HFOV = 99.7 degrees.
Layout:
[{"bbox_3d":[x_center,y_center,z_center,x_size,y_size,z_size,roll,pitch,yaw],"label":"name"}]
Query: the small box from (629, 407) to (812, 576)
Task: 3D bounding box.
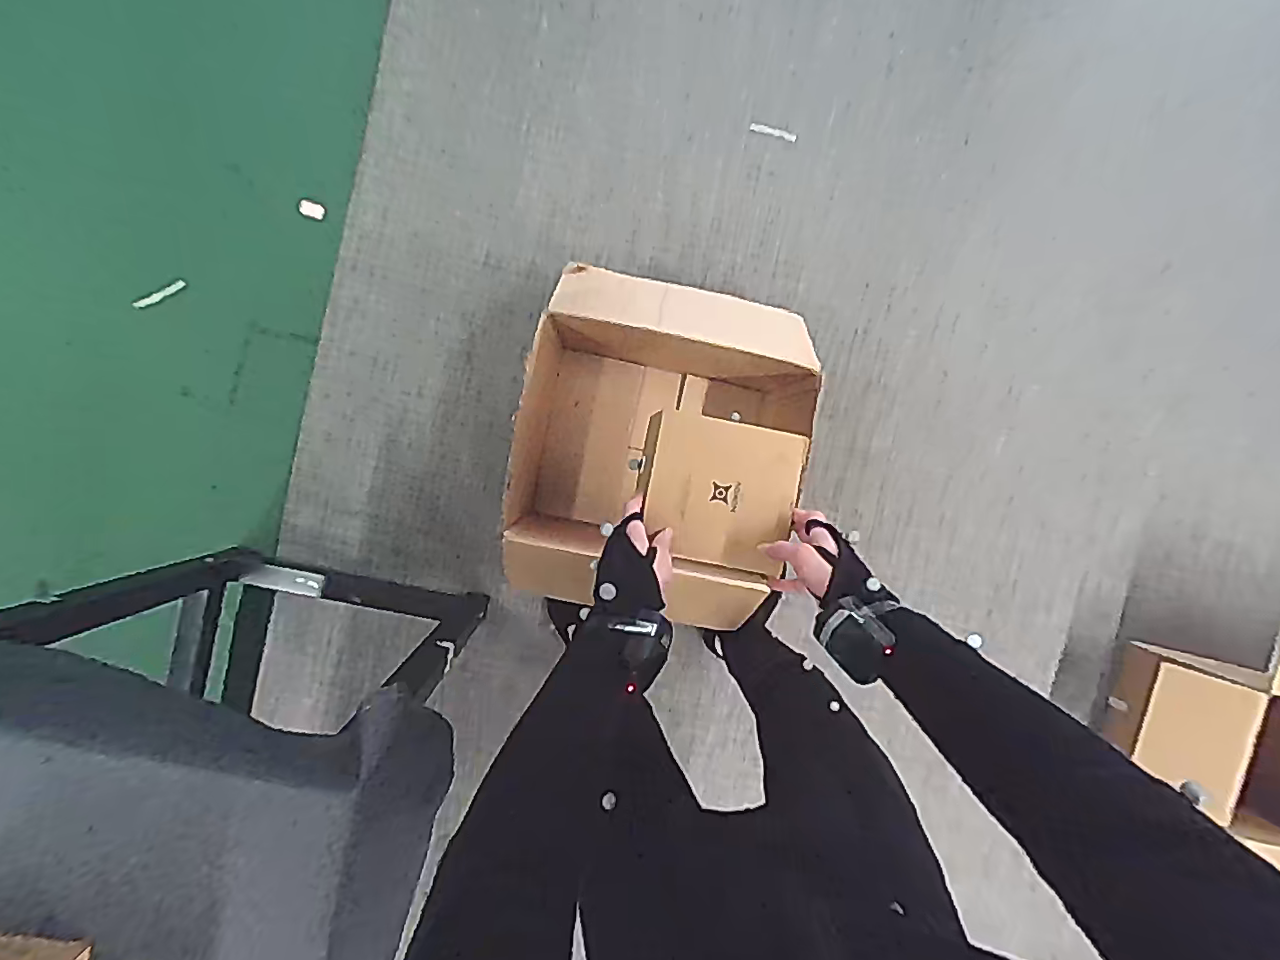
[{"bbox_3d":[0.089,0.010,0.683,0.179,0.176,0.168,11,92,-4],"label":"small box"}]
